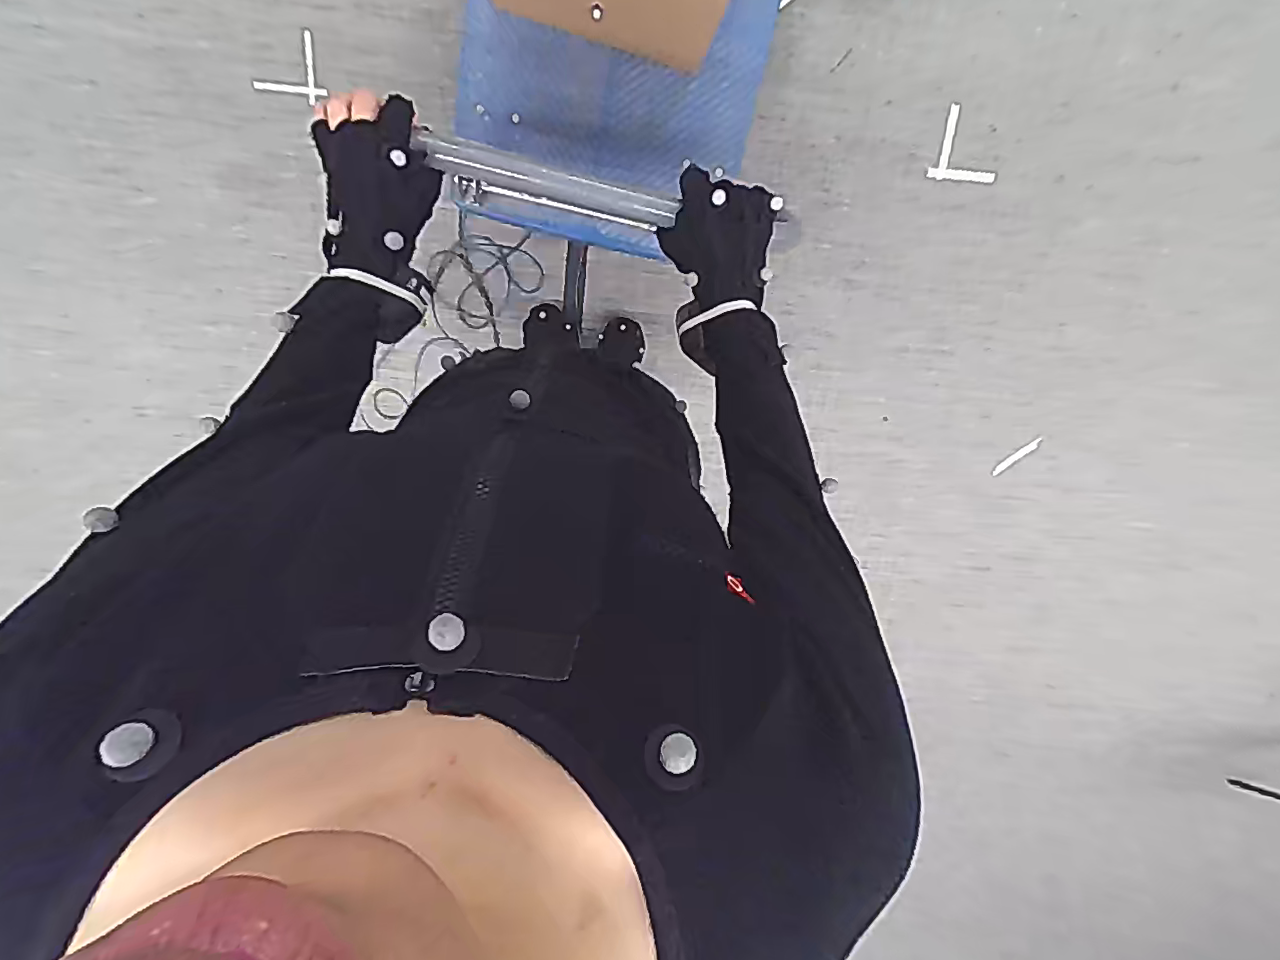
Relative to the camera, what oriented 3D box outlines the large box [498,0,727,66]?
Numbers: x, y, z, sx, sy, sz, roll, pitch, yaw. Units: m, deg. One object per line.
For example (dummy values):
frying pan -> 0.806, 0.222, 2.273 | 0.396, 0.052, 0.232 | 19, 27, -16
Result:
large box -> -0.034, -0.944, 0.865 | 0.408, 0.320, 0.320 | 12, 108, -7
